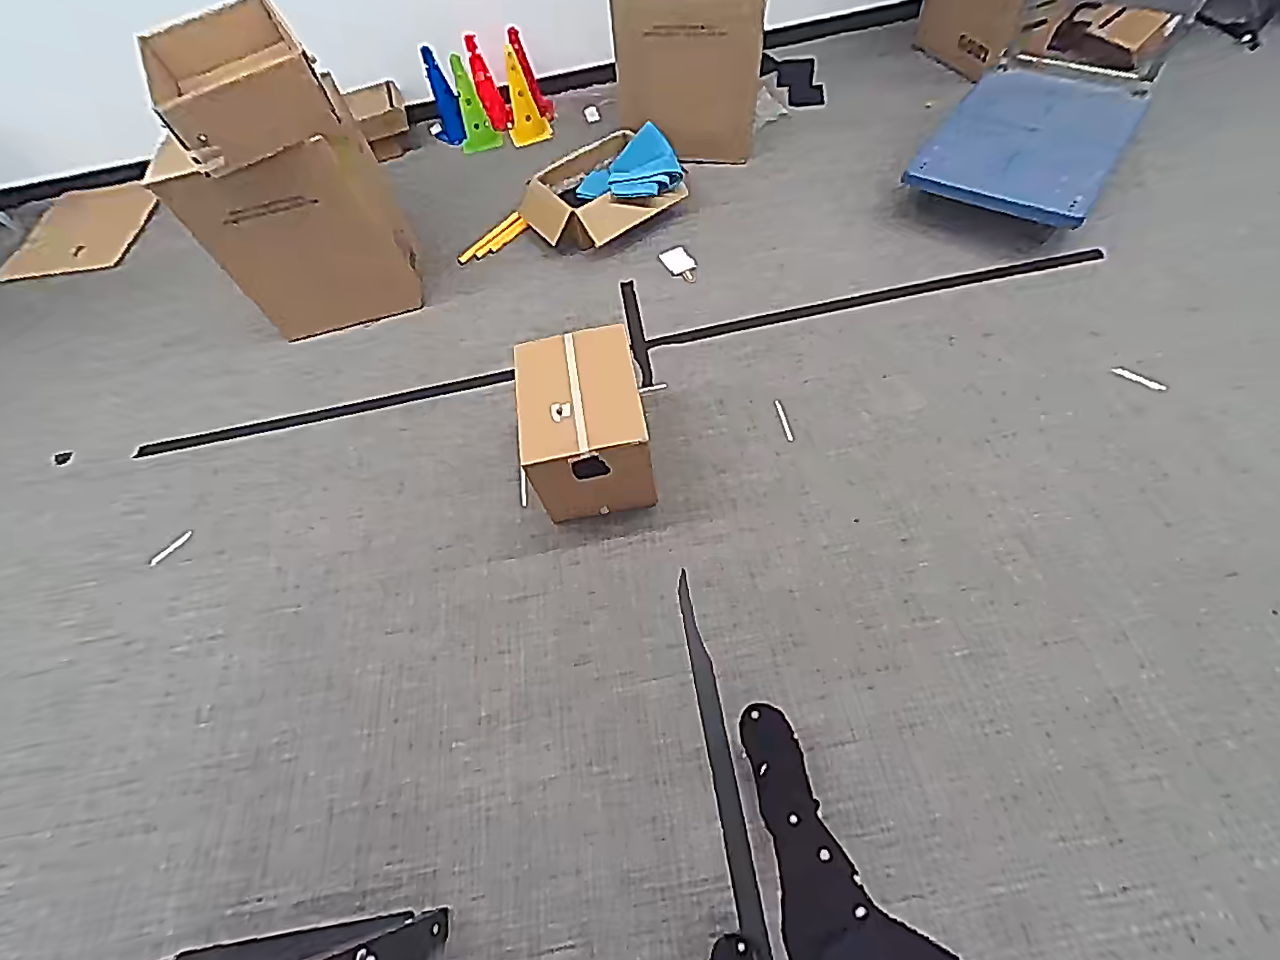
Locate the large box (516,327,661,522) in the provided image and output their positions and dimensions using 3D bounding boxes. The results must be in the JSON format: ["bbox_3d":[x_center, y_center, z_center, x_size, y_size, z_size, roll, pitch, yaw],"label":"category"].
[{"bbox_3d":[-0.138,-0.149,1.498,0.320,0.320,0.408,-12,59,1],"label":"large box"}]
